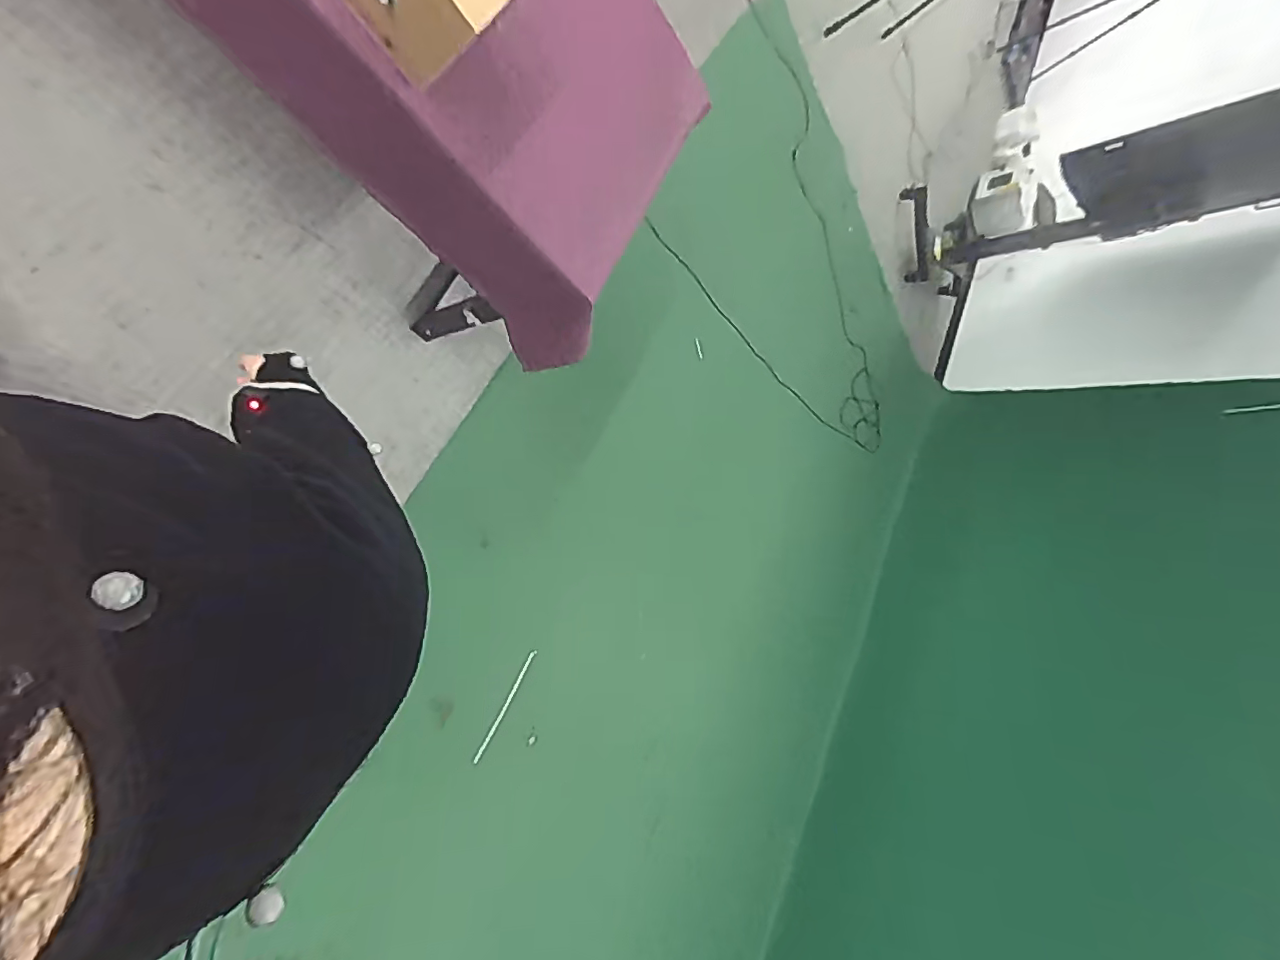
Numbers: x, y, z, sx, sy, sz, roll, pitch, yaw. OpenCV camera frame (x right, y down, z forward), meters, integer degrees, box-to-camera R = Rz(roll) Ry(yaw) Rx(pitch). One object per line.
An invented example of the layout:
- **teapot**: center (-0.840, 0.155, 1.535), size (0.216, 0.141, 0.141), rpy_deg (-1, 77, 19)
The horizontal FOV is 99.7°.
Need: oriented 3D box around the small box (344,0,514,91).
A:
- **small box**: center (-0.267, -0.651, 0.690), size (0.168, 0.176, 0.179), rpy_deg (44, 63, -38)
